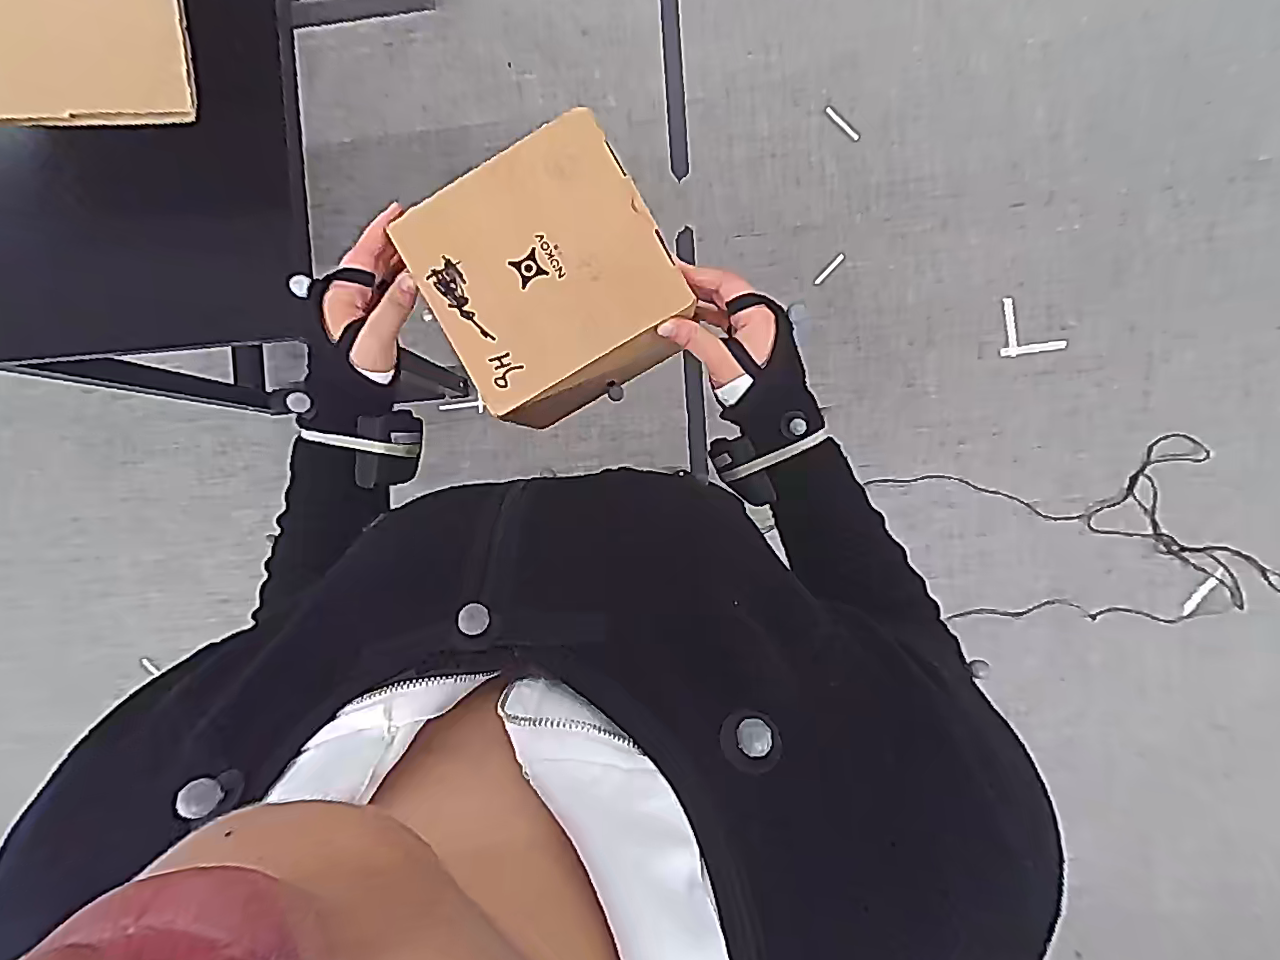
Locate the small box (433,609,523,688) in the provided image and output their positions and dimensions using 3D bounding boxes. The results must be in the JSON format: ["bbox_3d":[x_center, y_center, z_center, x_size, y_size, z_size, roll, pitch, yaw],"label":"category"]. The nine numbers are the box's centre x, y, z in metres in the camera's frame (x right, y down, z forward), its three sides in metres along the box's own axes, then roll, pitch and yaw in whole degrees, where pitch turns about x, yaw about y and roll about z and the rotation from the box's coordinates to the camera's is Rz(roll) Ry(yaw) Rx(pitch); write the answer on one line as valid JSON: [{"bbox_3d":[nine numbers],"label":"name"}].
[{"bbox_3d":[-0.426,0.453,1.446,0.179,0.176,0.168,-8,90,2],"label":"small box"}]

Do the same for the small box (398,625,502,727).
[{"bbox_3d":[-0.440,0.456,1.283,0.179,0.176,0.168,-11,89,3],"label":"small box"}]
